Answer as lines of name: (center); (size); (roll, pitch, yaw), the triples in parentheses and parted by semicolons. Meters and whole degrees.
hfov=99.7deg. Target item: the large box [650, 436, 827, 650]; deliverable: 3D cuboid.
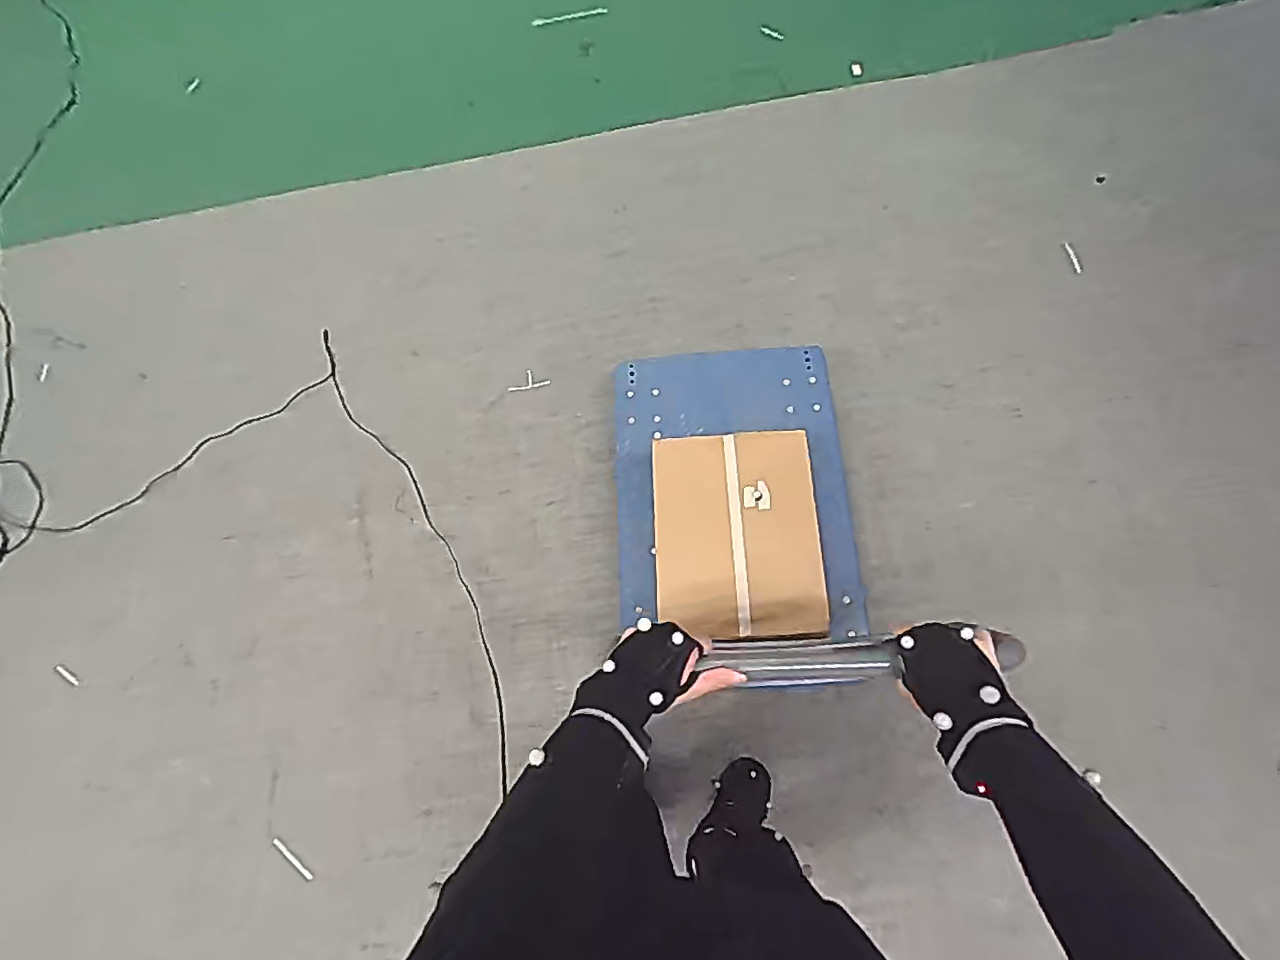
large box: (0.197, 0.156, 1.203); (0.320, 0.320, 0.408); (-3, 70, 4)
